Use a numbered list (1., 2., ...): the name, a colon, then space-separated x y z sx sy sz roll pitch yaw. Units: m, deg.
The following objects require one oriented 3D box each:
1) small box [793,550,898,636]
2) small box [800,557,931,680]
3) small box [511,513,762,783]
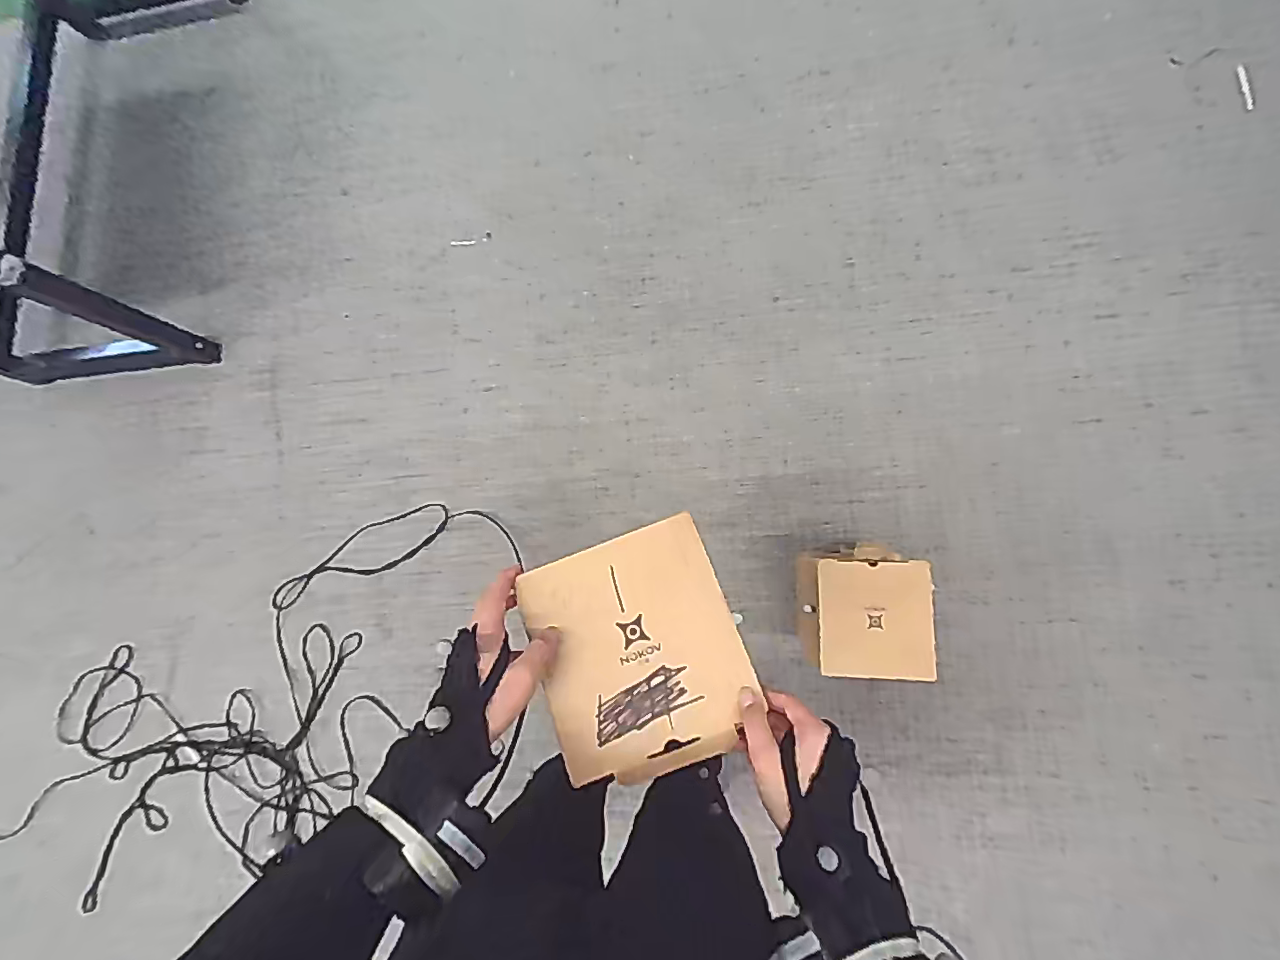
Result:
1. small box: 0.394 0.228 1.050 0.168 0.176 0.179 -1 81 8
2. small box: 0.360 0.218 0.890 0.168 0.176 0.179 0 81 8
3. small box: -0.001 0.149 0.519 0.168 0.176 0.179 -20 76 -1
